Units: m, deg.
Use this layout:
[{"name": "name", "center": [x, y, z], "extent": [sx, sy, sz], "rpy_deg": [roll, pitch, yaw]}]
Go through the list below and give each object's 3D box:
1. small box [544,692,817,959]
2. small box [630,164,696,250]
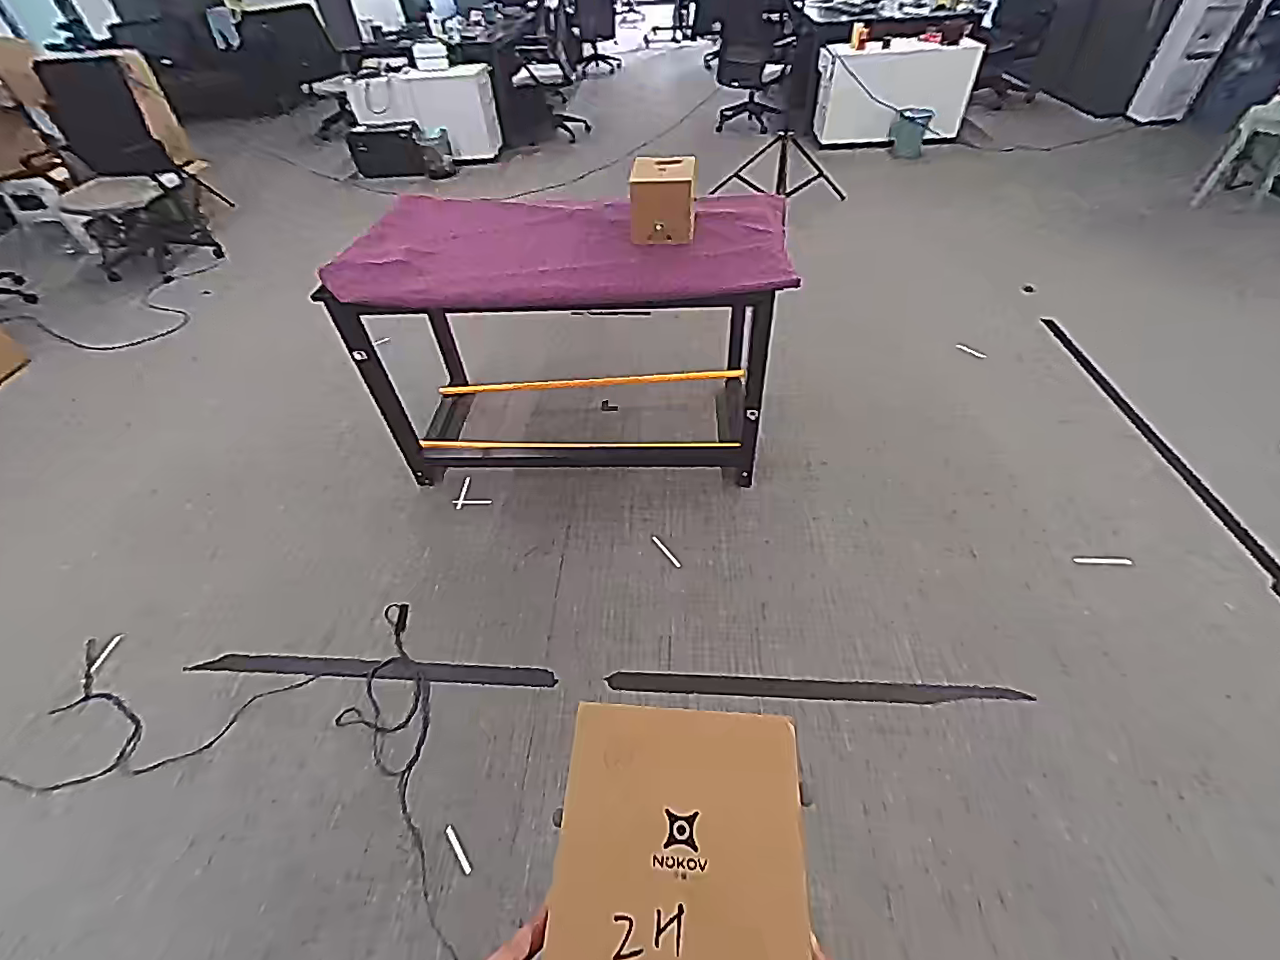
[{"name": "small box", "center": [0.036, 0.286, 0.425], "extent": [0.168, 0.176, 0.179], "rpy_deg": [1, 53, 7]}, {"name": "small box", "center": [0.068, -0.761, 1.506], "extent": [0.168, 0.176, 0.179], "rpy_deg": [2, 47, 7]}]
